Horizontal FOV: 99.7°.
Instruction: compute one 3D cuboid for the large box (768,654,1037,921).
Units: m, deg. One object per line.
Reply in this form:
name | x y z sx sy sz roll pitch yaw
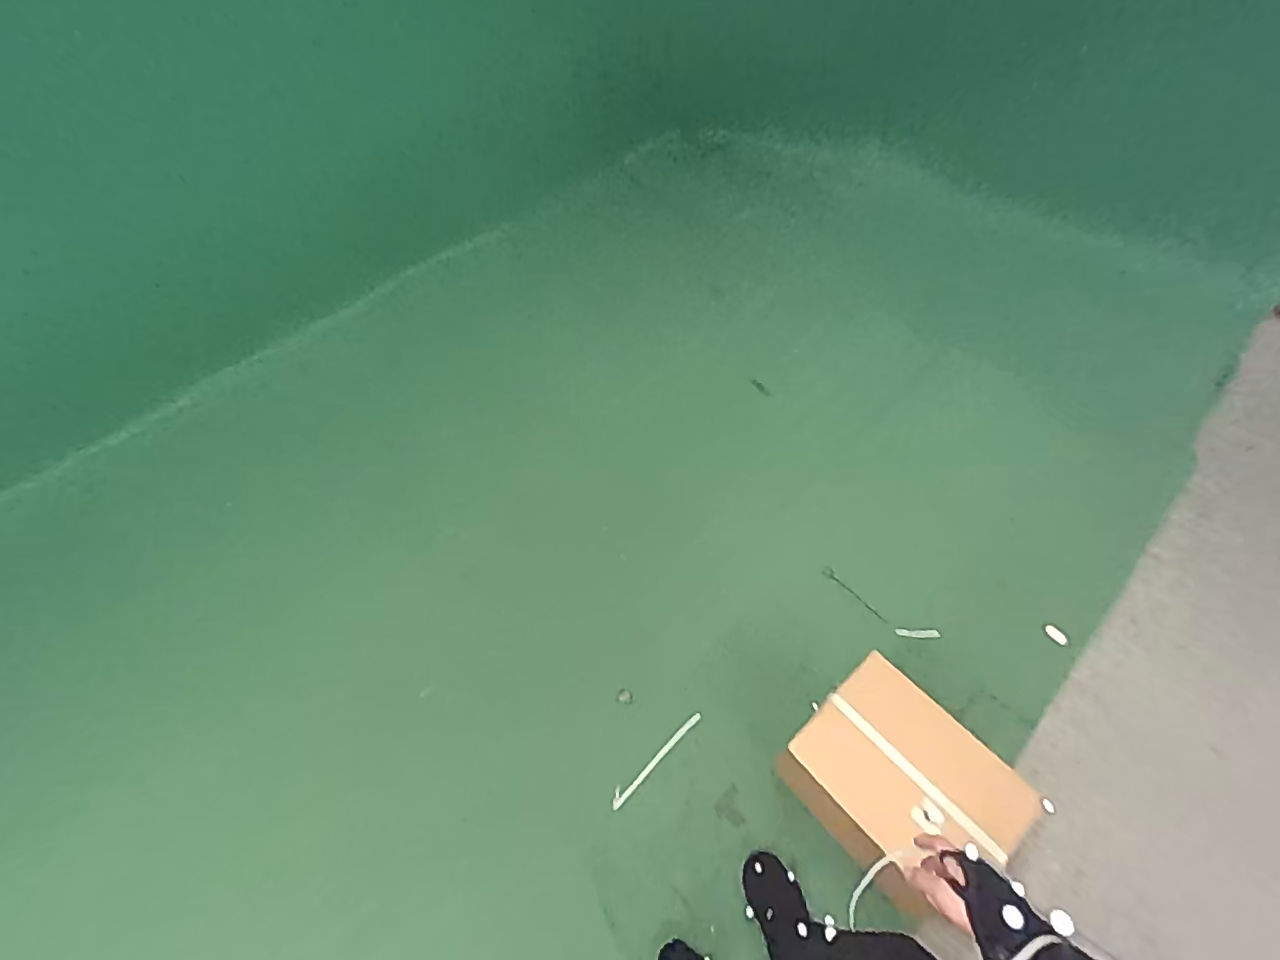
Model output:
large box | 0.565 0.688 1.248 0.320 0.320 0.408 -38 62 -19
